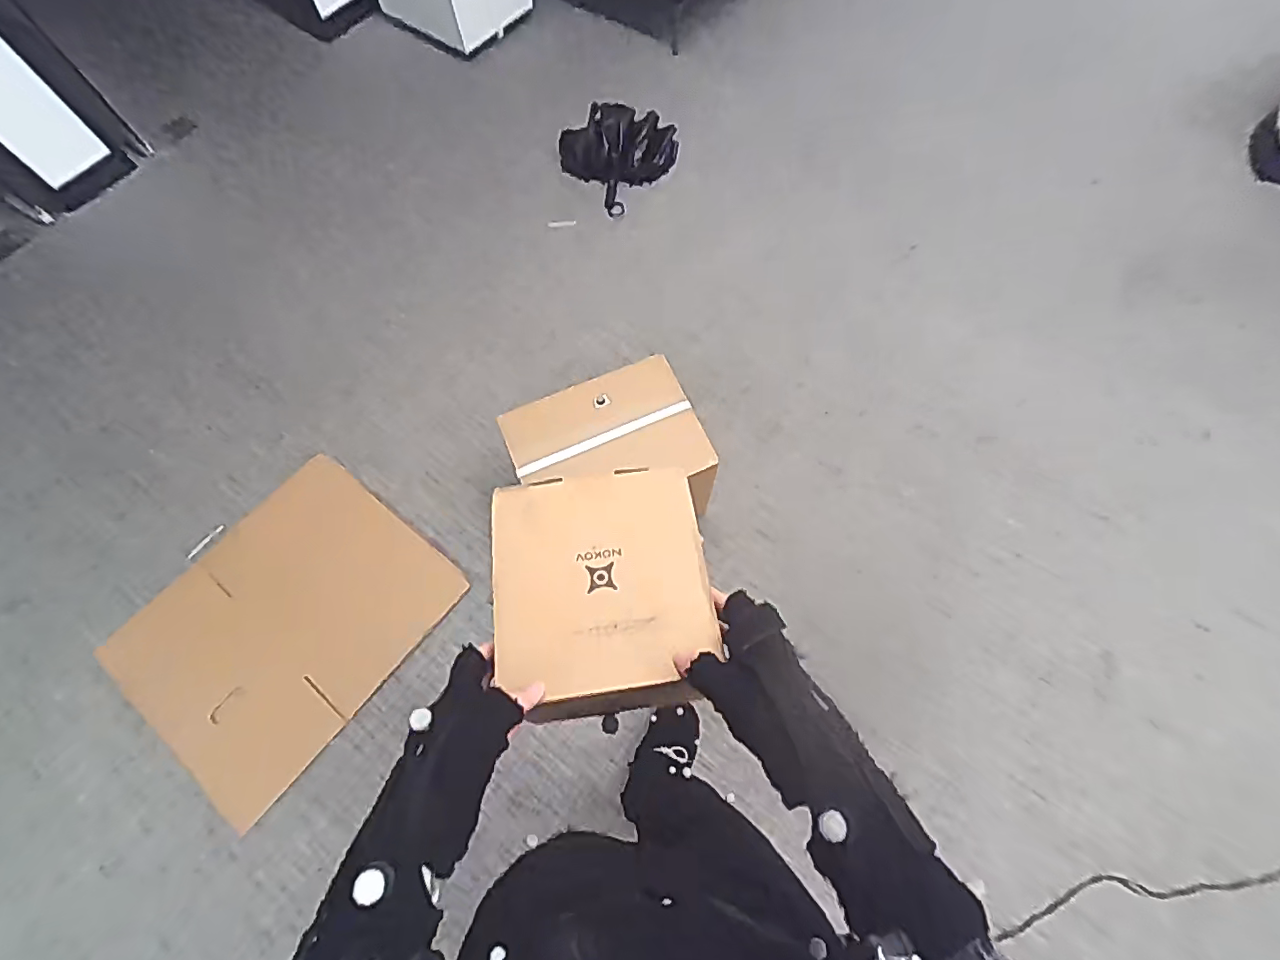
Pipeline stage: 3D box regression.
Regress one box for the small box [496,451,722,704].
[{"bbox_3d":[-0.030,0.097,0.502,0.168,0.176,0.179,-9,64,-3],"label":"small box"}]
